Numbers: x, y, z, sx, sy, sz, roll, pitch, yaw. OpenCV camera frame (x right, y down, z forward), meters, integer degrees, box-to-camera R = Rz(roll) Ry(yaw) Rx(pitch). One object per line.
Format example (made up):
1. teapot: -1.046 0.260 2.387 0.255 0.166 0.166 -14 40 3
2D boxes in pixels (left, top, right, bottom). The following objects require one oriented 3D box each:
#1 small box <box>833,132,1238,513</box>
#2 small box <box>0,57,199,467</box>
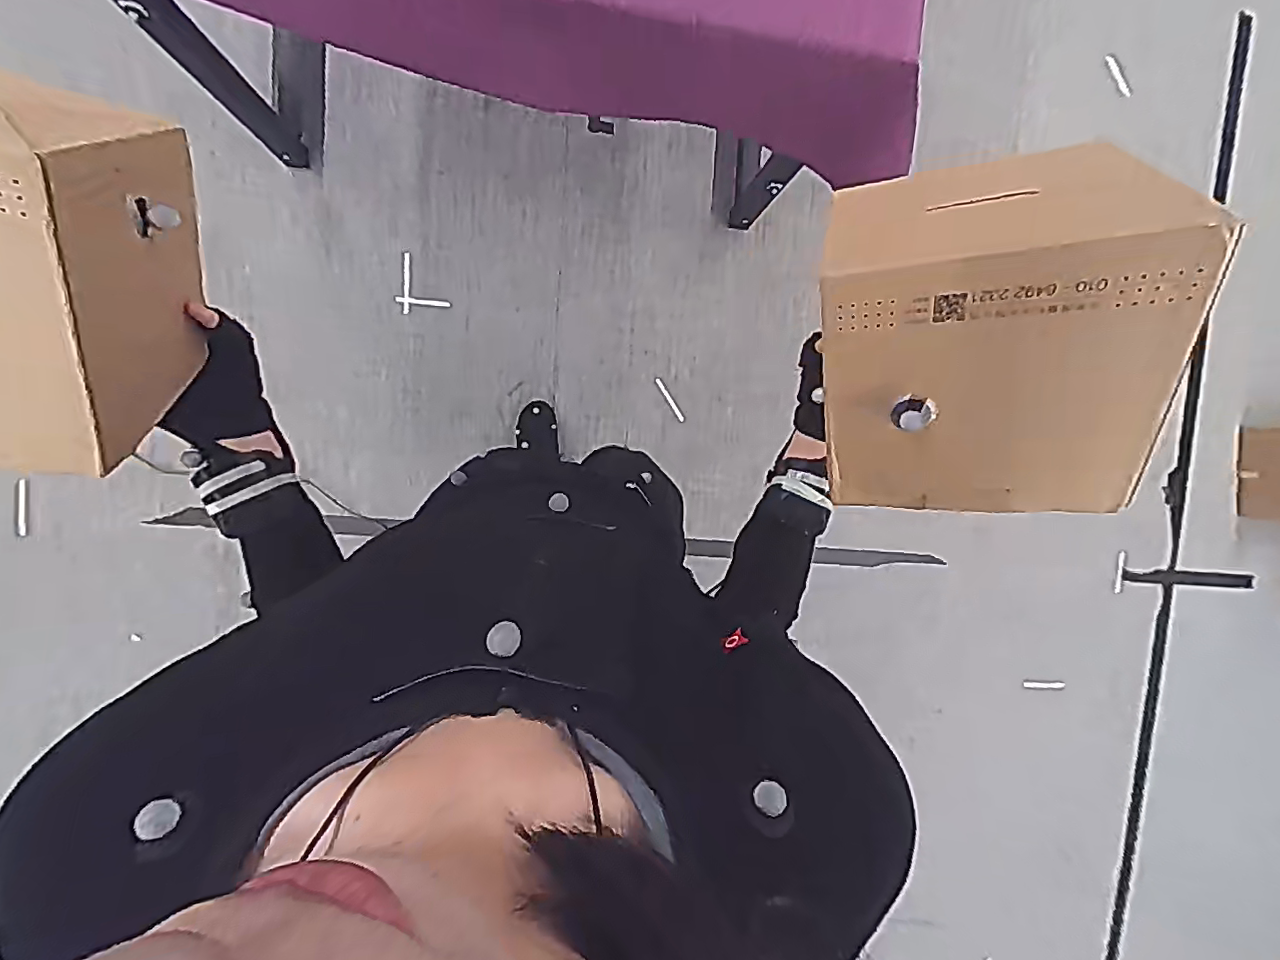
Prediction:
1. small box: 0.213 -0.099 0.346 0.168 0.179 0.176 2 131 21
2. small box: -0.366 -0.129 0.283 0.168 0.179 0.176 7 121 -24
